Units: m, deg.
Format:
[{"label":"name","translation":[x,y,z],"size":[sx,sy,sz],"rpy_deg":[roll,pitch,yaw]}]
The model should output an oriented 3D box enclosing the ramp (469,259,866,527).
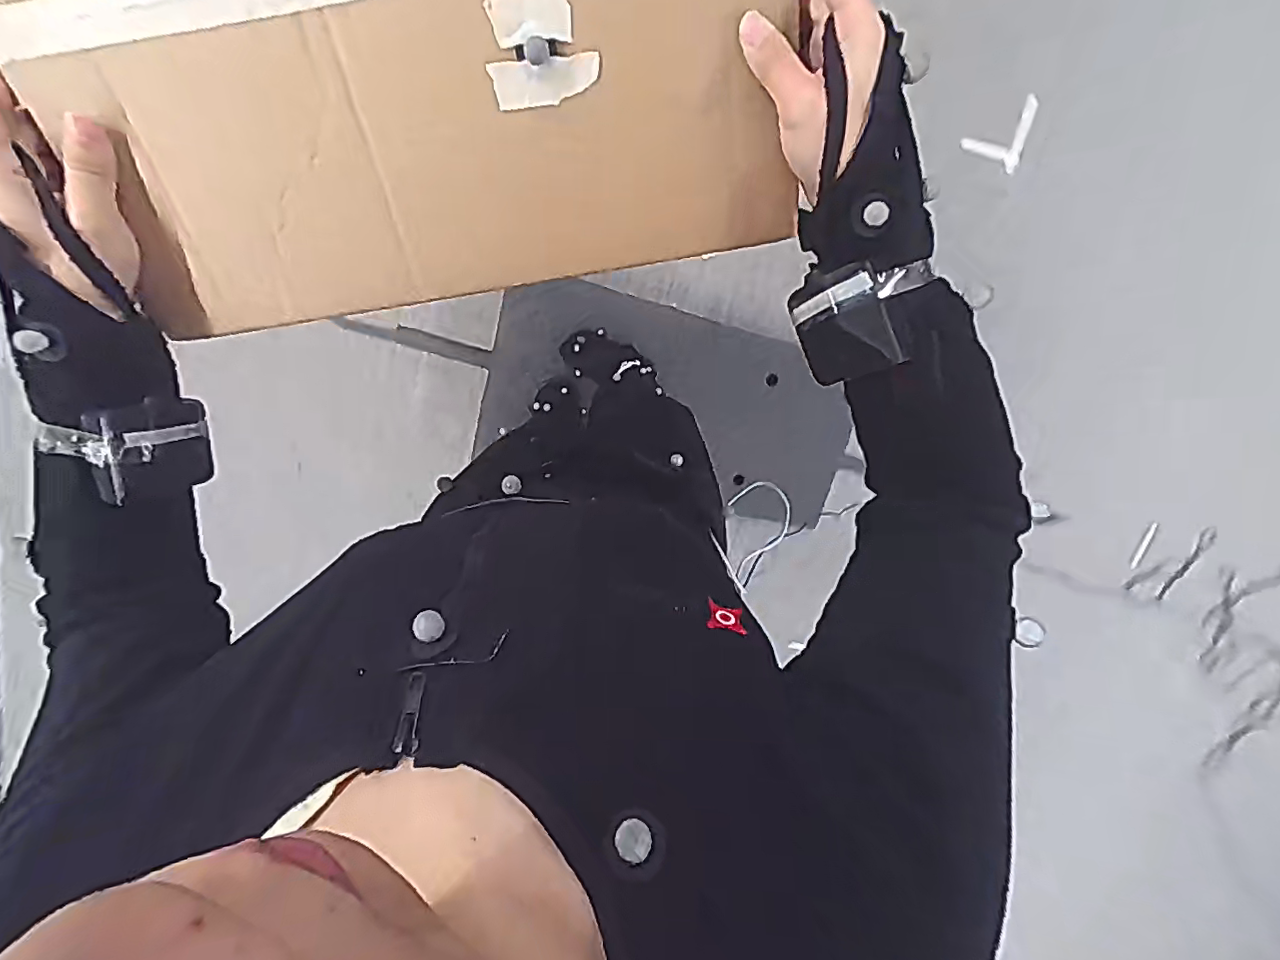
[{"label":"ramp","translation":[0.107,-0.181,1.410],"size":[0.991,0.206,0.509],"rpy_deg":[12,103,-7]}]
